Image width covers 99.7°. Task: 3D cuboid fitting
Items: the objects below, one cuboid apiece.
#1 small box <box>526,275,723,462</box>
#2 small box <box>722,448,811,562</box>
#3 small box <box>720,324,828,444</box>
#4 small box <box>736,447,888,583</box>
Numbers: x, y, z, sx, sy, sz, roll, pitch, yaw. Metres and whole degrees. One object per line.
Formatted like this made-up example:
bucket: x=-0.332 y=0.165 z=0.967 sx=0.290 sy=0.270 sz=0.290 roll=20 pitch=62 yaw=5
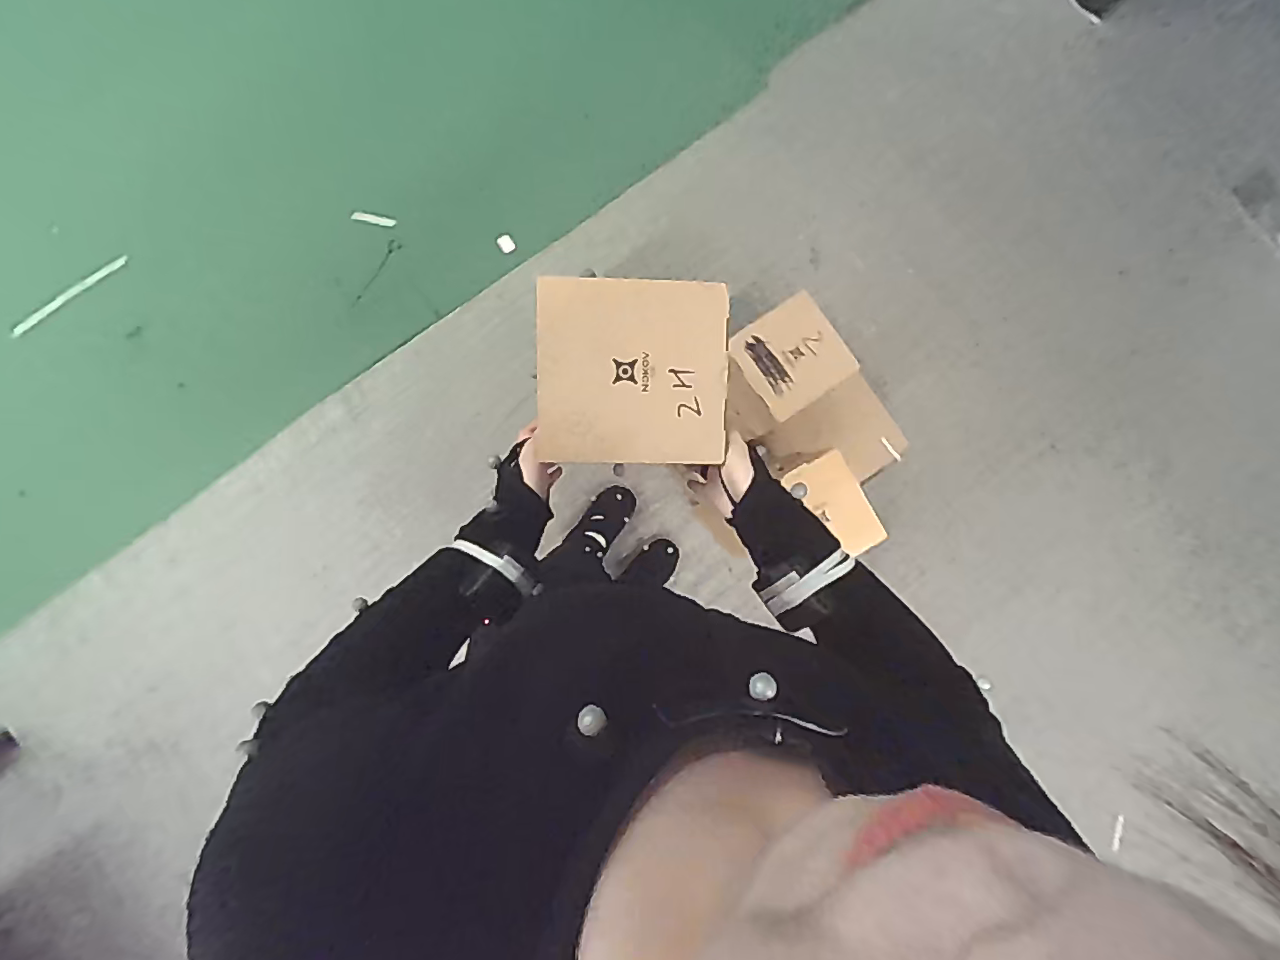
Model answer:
small box: x=-0.019 y=-0.106 z=0.562 sx=0.179 sy=0.176 sz=0.168 roll=-1 pitch=97 yaw=-6
small box: x=0.287 y=0.052 z=1.126 sx=0.179 sy=0.176 sz=0.168 roll=-30 pitch=90 yaw=-5
small box: x=0.253 y=-0.194 z=1.138 sx=0.179 sy=0.176 sz=0.168 roll=-30 pitch=88 yaw=-5
small box: x=0.295 y=0.058 z=0.963 sx=0.168 sy=0.176 sz=0.179 roll=-29 pitch=90 yaw=-4
